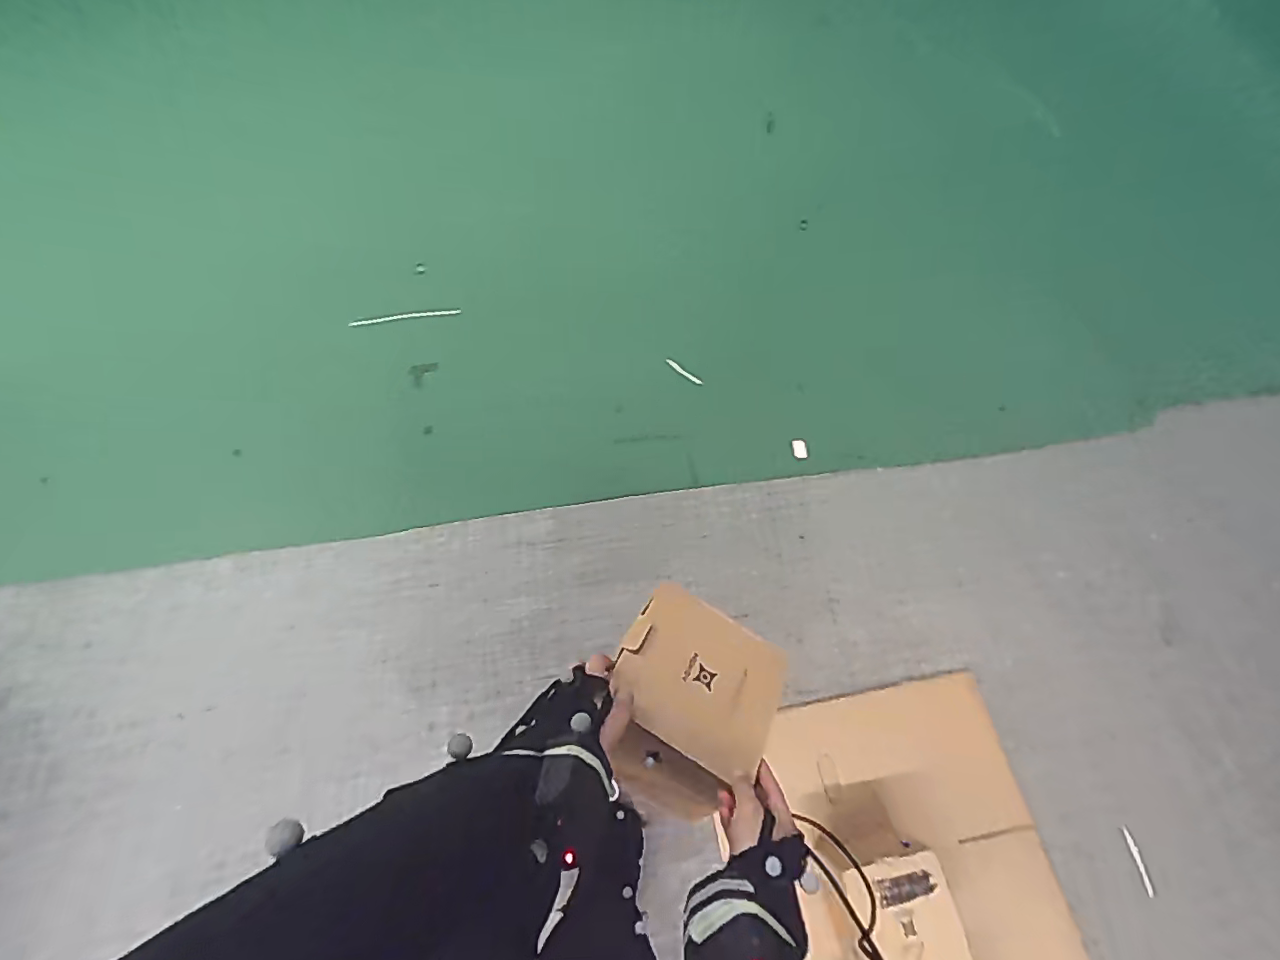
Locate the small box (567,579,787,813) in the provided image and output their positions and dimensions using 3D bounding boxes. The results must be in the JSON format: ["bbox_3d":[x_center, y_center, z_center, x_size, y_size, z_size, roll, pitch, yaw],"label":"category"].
[{"bbox_3d":[0.037,0.255,0.629,0.179,0.176,0.168,32,47,5],"label":"small box"}]
